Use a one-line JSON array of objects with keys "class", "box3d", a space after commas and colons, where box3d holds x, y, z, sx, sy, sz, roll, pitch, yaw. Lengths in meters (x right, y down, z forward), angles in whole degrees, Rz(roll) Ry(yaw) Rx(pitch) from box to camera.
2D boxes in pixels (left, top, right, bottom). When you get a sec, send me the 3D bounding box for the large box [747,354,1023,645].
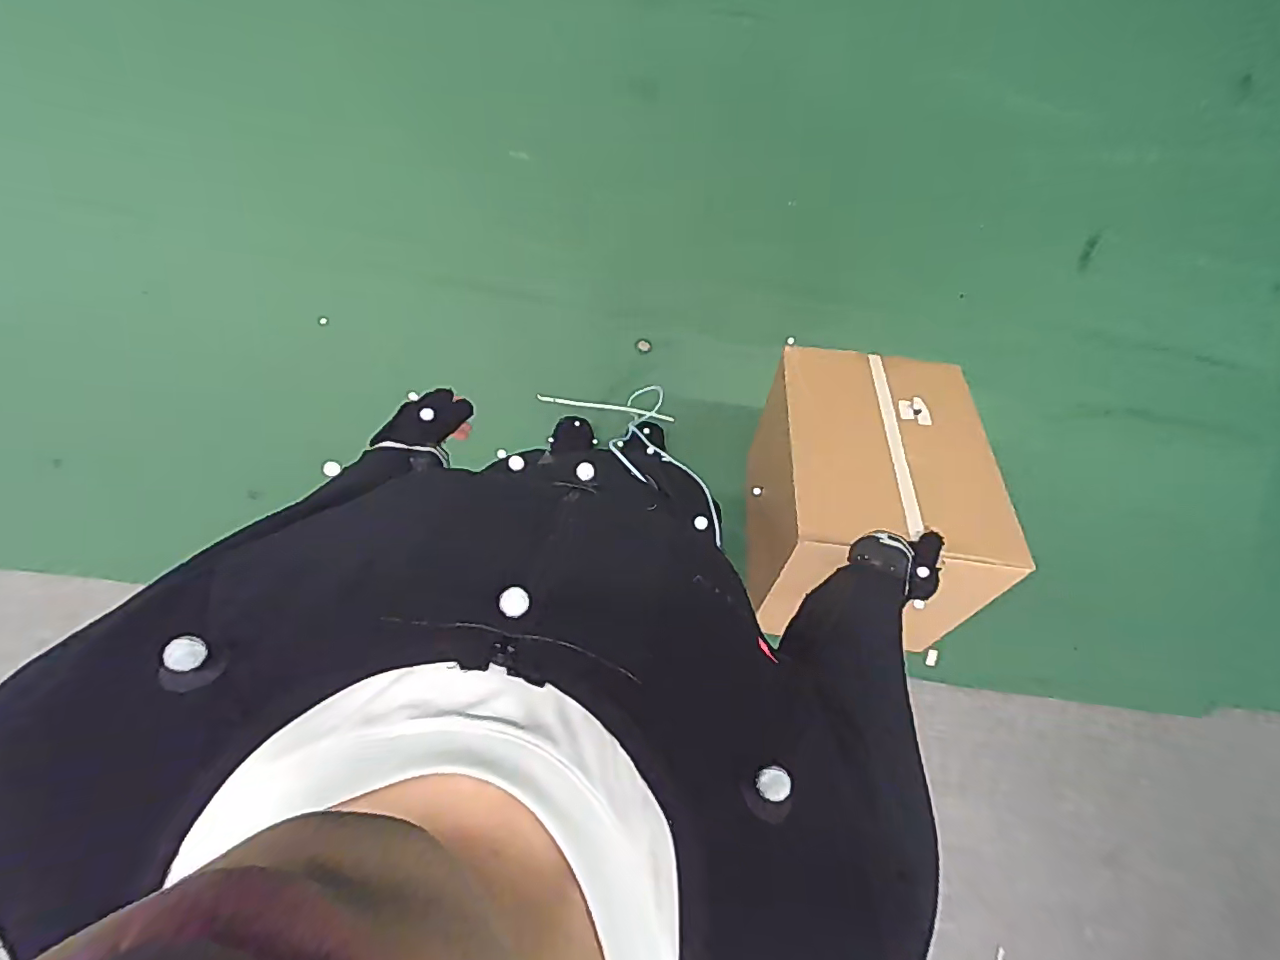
[{"class": "large box", "box3d": [0.376, 0.037, 0.963, 0.320, 0.320, 0.408, 8, 52, 0]}]
